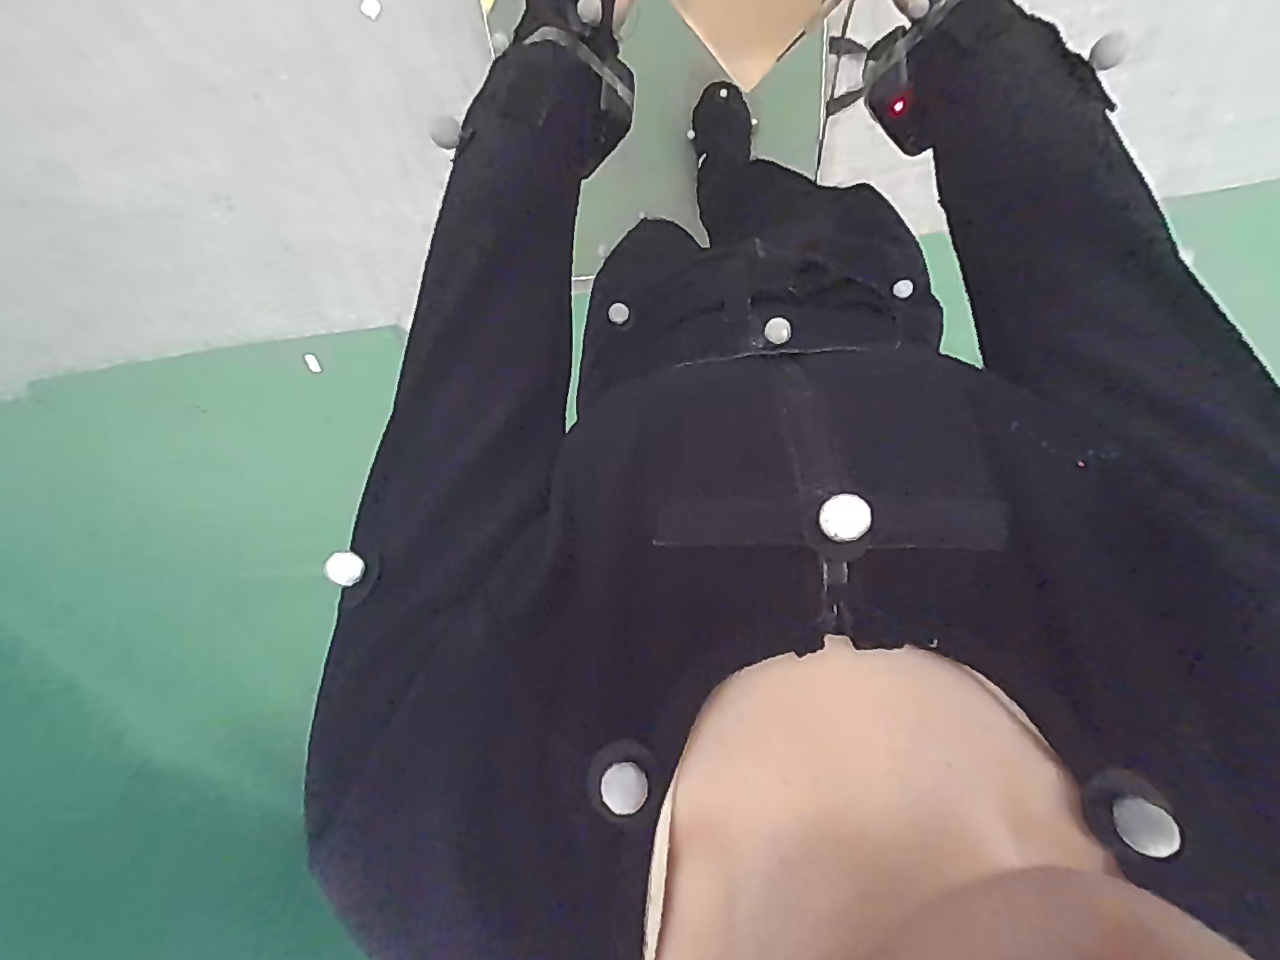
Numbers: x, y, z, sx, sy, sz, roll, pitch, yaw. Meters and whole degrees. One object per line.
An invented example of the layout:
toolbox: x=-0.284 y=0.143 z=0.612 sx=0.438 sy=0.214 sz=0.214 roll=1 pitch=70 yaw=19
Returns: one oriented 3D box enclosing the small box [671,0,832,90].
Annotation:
small box: x=0.082 y=-0.469 z=0.419 sx=0.179 sy=0.176 sz=0.168 roll=28 pitch=134 yaw=-34
